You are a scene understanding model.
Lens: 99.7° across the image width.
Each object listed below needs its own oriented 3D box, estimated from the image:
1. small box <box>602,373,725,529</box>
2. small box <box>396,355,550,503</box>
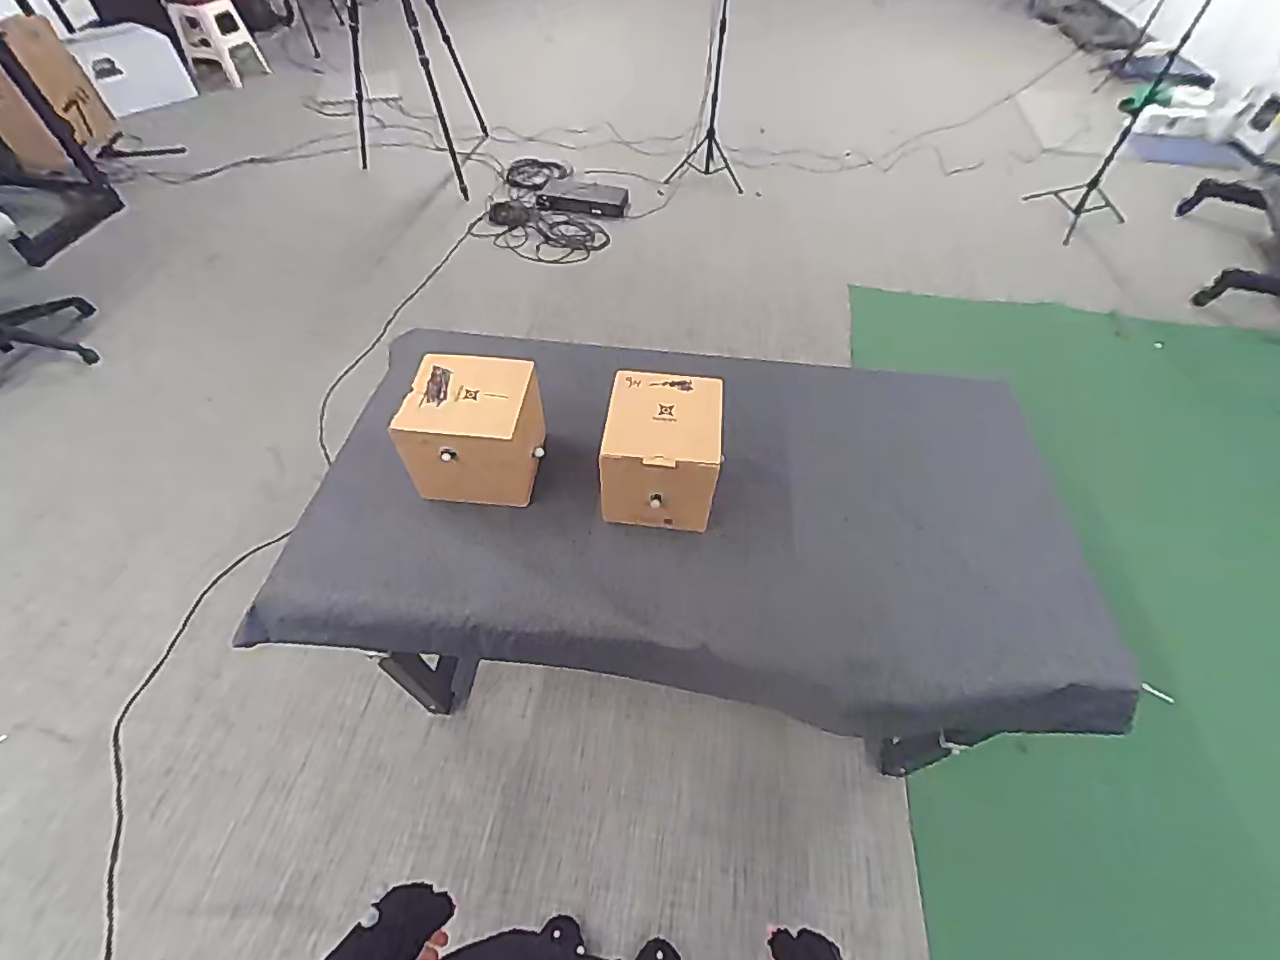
[{"bbox_3d":[0.038,-0.041,0.847,0.168,0.176,0.179,7,53,3],"label":"small box"},{"bbox_3d":[-0.252,-0.078,0.866,0.179,0.176,0.168,6,53,1],"label":"small box"}]
